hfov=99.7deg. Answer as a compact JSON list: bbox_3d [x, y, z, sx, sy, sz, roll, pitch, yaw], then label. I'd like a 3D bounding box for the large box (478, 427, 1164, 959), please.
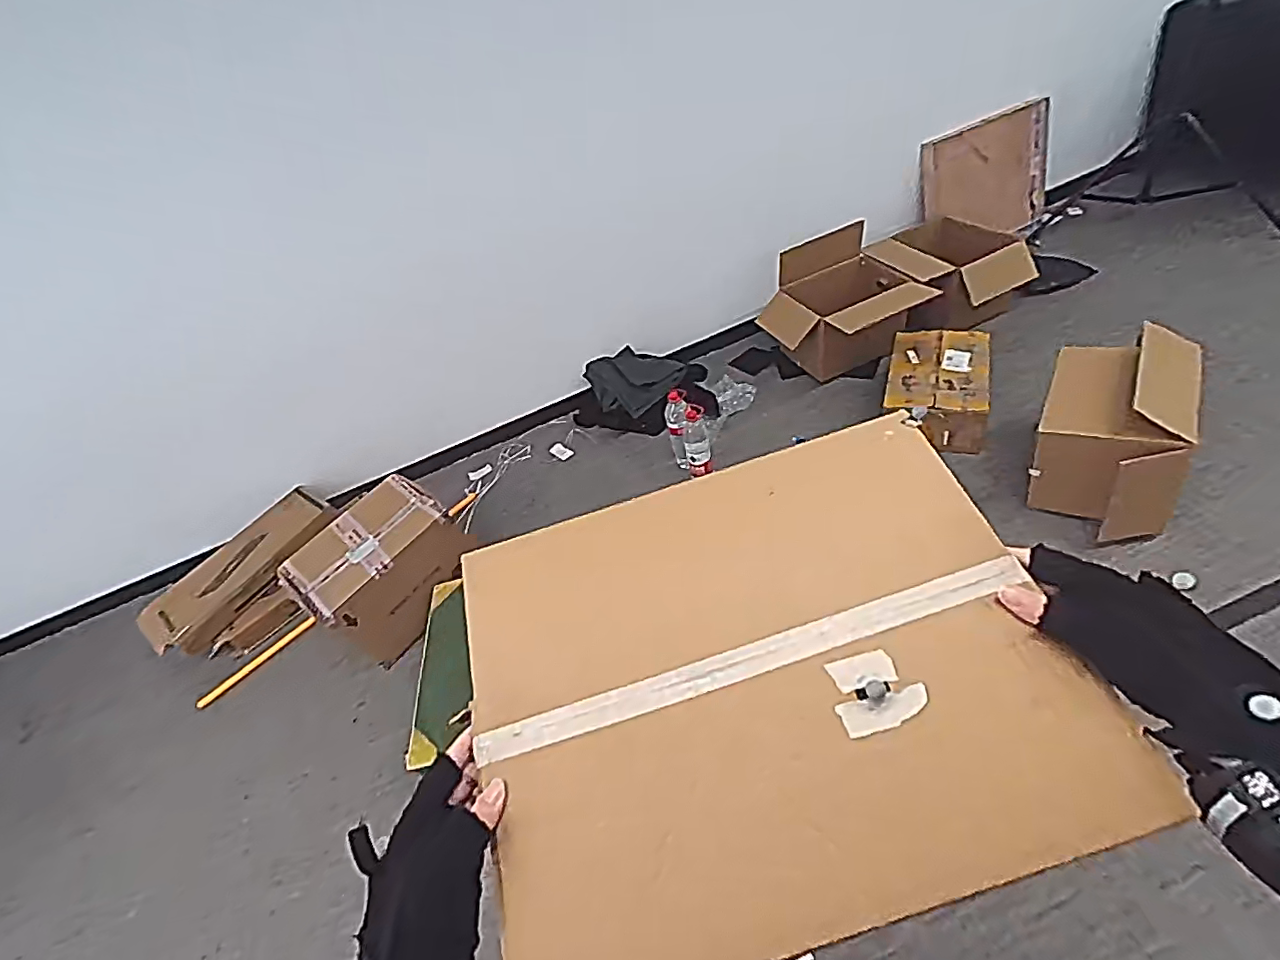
[{"bbox_3d":[0.108,0.213,0.521,0.408,0.320,0.320,-18,58,-1],"label":"large box"}]
